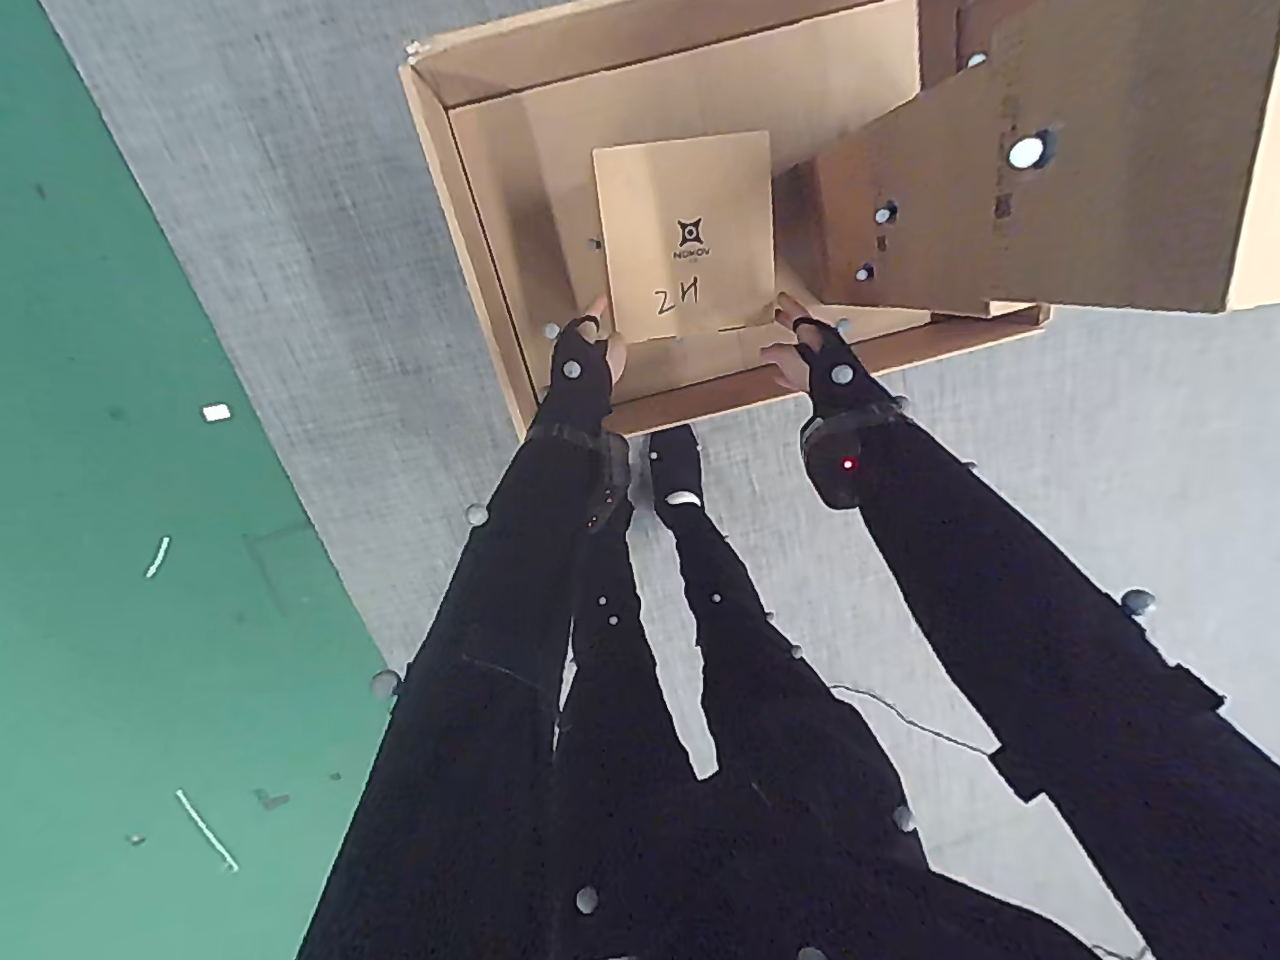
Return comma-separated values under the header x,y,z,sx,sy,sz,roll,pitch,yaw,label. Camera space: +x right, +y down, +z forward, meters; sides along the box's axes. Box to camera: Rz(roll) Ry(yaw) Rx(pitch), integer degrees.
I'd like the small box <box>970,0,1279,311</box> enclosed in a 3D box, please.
x,y,z,sx,sy,sz,roll,pitch,yaw,label
0.320,-0.194,0.292,0.179,0.176,0.168,-11,111,0,small box
